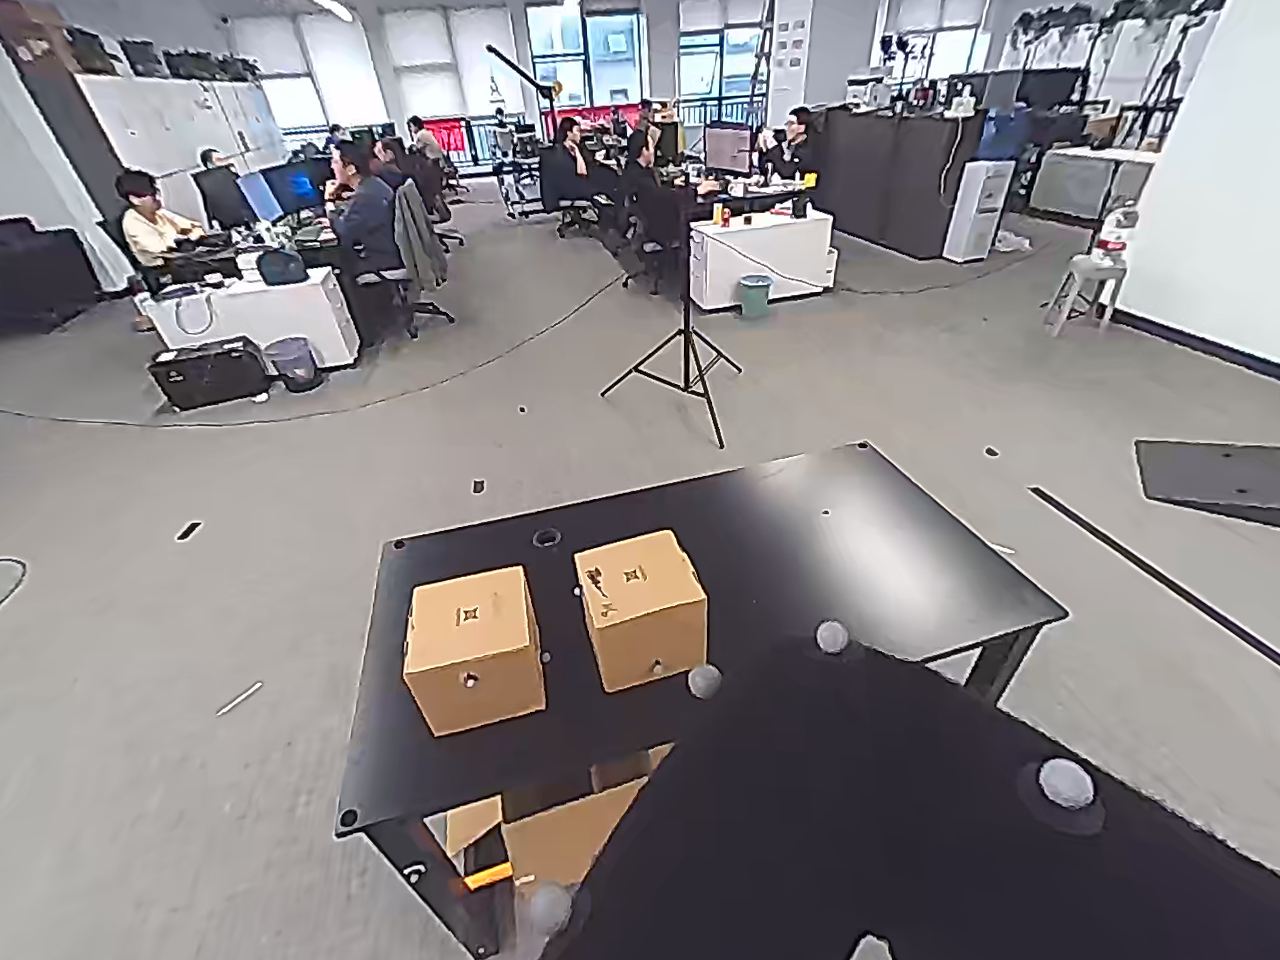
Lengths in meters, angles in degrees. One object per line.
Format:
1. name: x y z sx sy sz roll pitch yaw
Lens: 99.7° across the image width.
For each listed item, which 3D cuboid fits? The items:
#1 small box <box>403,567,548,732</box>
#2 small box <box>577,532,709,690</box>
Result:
1. small box: -0.253 0.268 0.857 0.179 0.176 0.168 -11 38 -10
2. small box: 0.002 0.217 0.901 0.179 0.176 0.168 -12 37 -12
